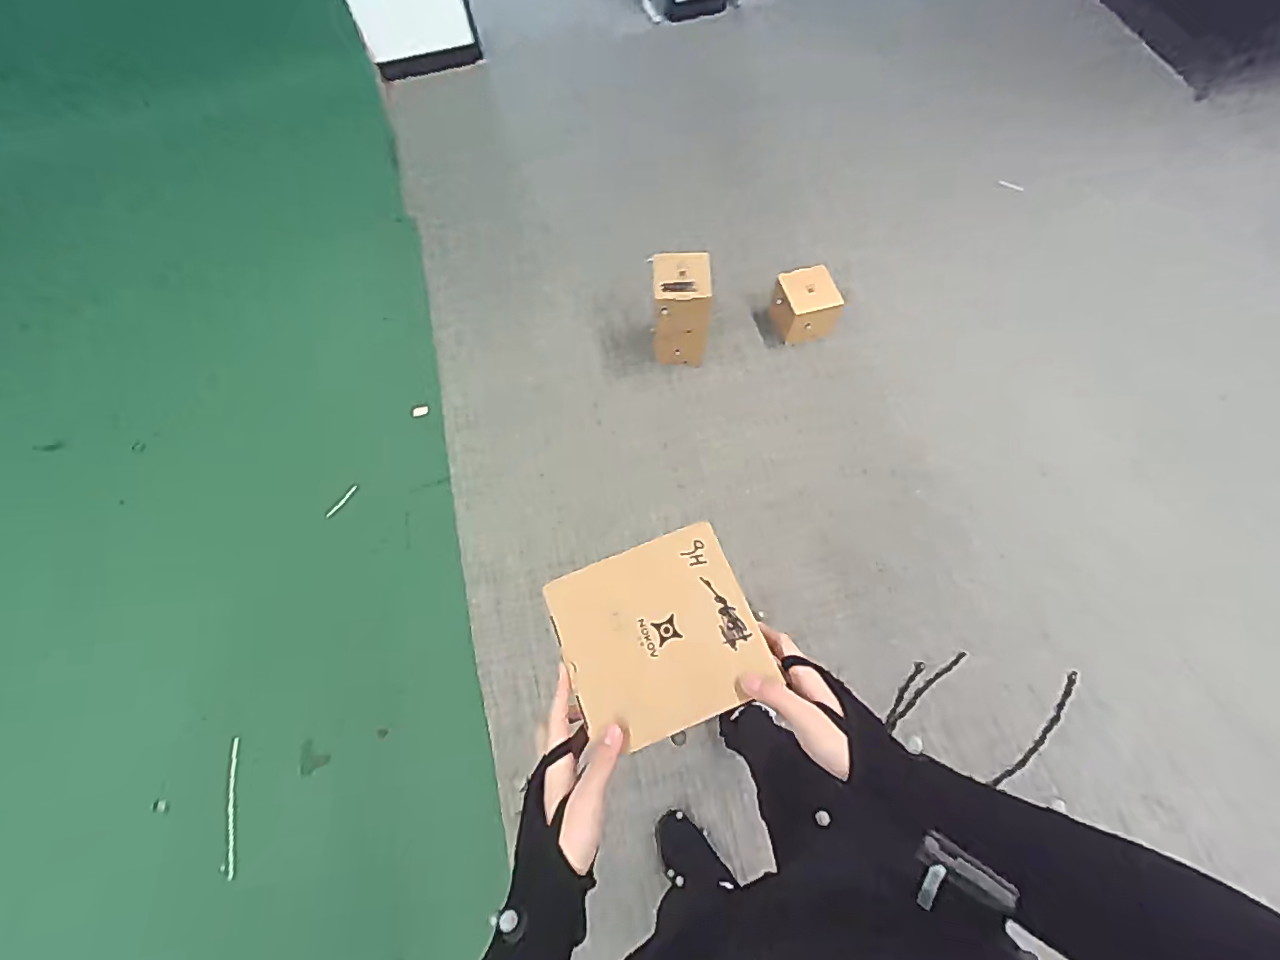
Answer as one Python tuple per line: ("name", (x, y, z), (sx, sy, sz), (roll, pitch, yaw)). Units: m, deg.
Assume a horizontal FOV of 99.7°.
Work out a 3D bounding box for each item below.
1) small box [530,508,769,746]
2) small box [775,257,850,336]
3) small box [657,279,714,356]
("small box", (0.008, 0.153, 0.547), (0.179, 0.176, 0.168), (-18, 68, -4))
("small box", (0.563, -0.599, 1.788), (0.168, 0.176, 0.179), (-13, 67, -3))
("small box", (0.147, -0.527, 1.768), (0.168, 0.176, 0.179), (6, 67, 4))
